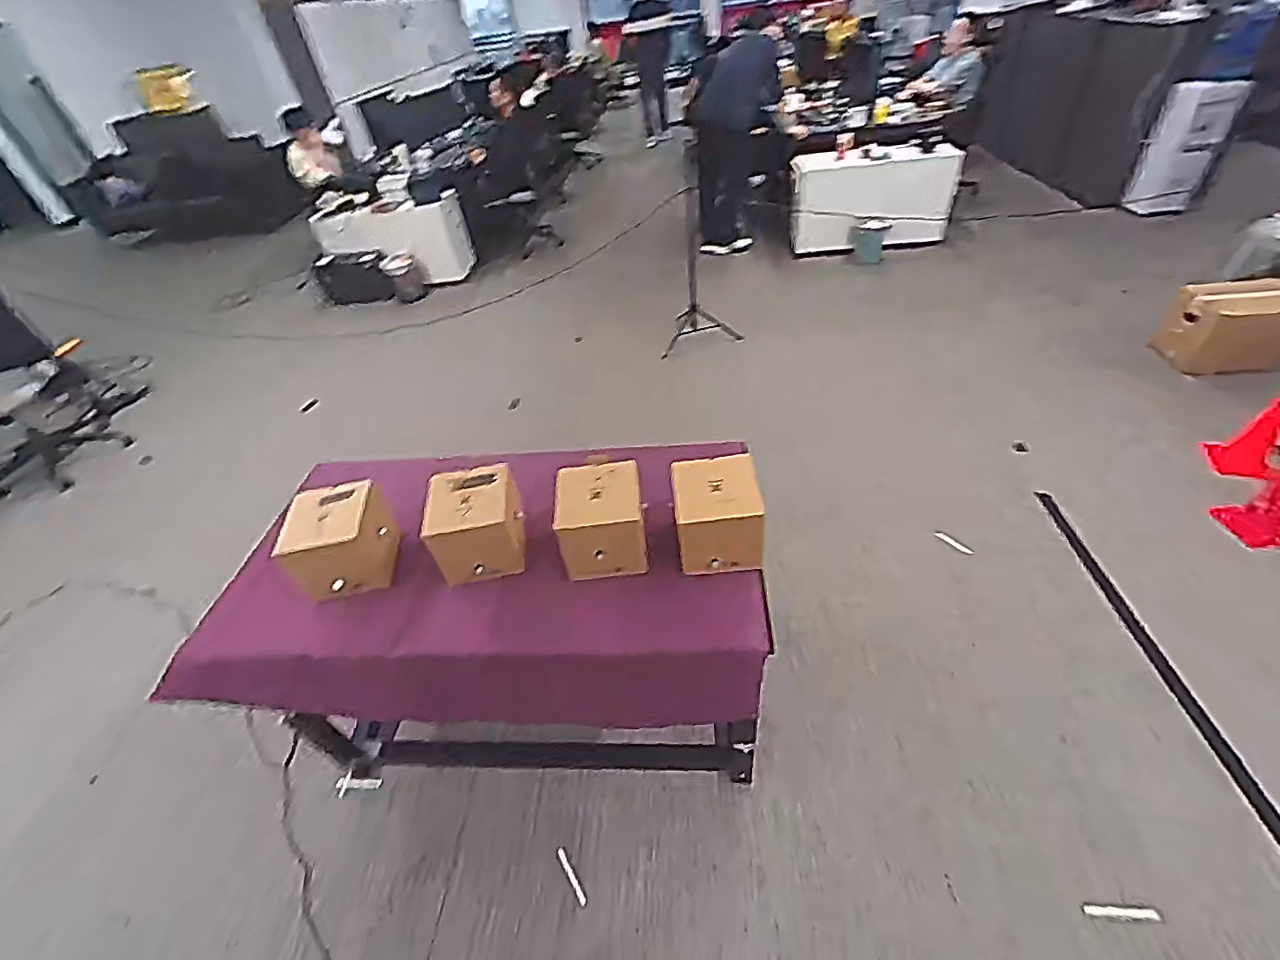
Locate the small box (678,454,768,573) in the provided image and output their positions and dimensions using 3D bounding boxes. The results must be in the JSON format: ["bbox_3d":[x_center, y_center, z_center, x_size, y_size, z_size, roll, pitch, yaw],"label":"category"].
[{"bbox_3d":[0.167,0.070,1.123,0.168,0.176,0.179,-6,42,5],"label":"small box"}]

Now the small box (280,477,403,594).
[{"bbox_3d":[-0.641,0.121,1.189,0.168,0.176,0.179,-11,44,-3],"label":"small box"}]

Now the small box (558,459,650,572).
[{"bbox_3d":[-0.071,0.081,1.148,0.168,0.176,0.179,-6,42,2],"label":"small box"}]
